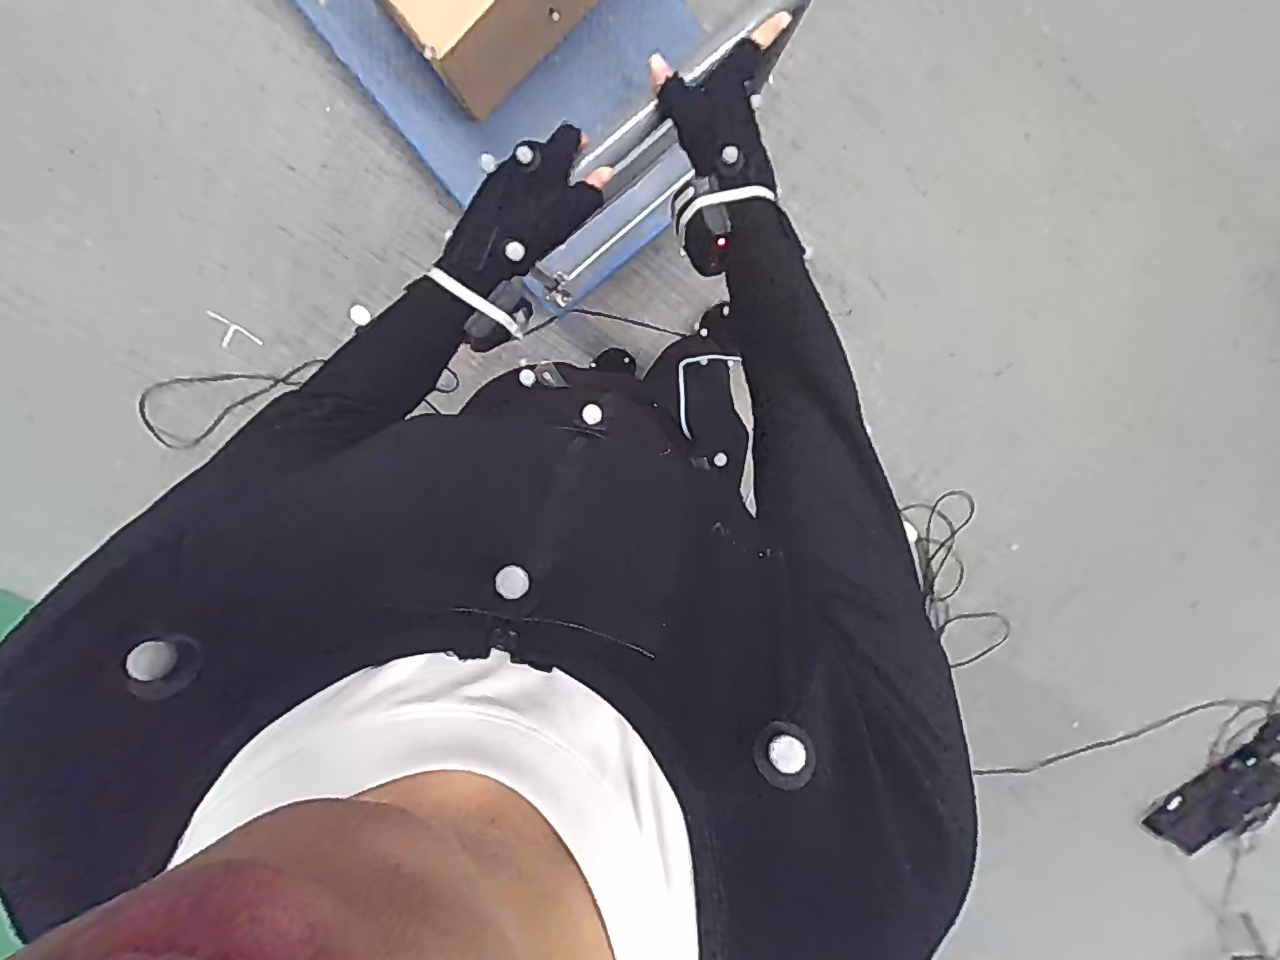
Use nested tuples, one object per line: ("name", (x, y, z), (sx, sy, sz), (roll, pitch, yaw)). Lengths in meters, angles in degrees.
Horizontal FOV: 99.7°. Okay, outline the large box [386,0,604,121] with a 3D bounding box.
("large box", (-0.236, -0.886, 0.854), (0.408, 0.320, 0.320), (-41, 107, 10))
